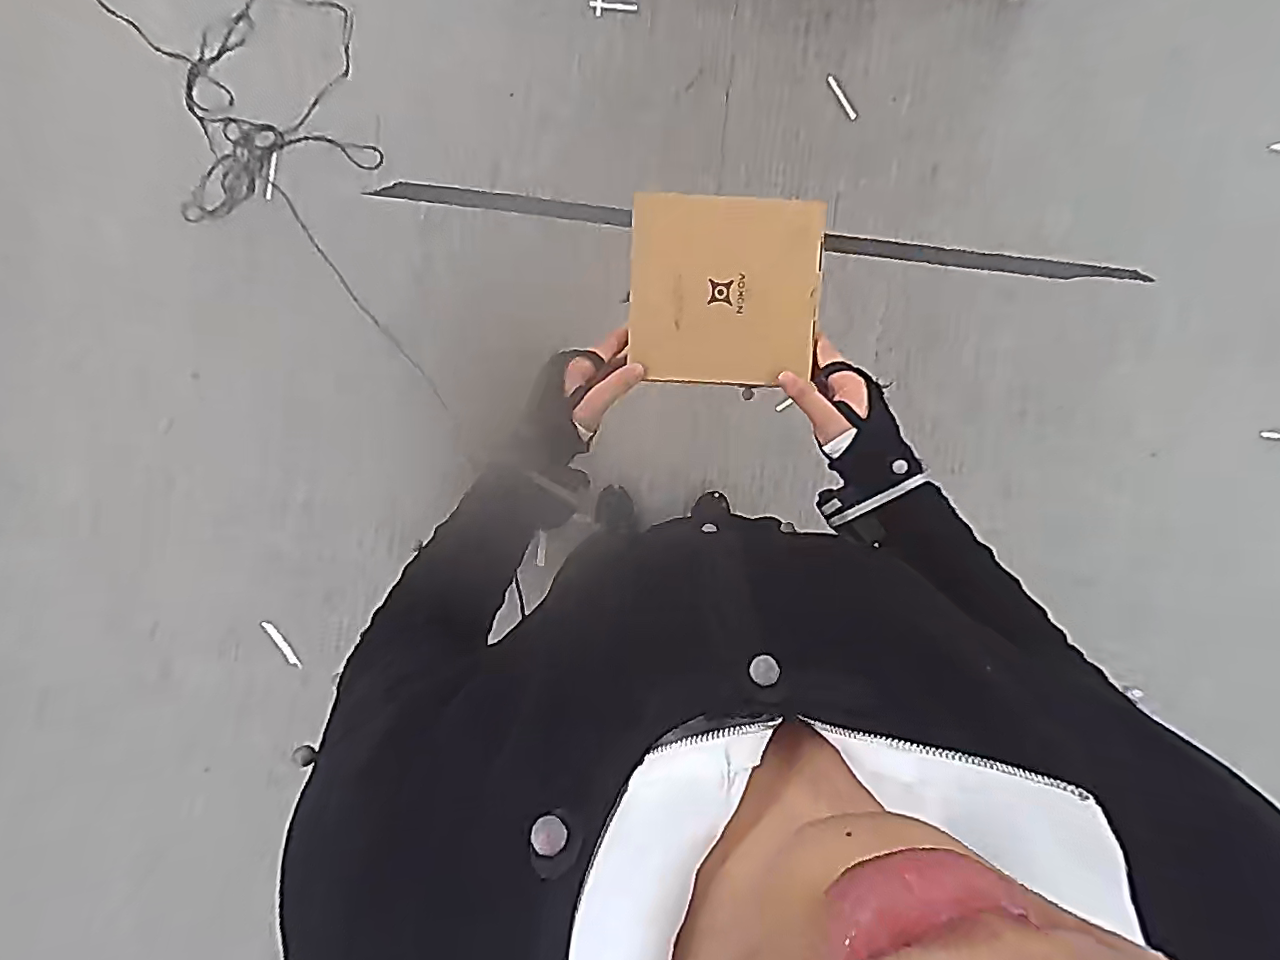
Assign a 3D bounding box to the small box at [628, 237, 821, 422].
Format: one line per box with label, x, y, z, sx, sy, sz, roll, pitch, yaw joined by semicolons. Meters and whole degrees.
small box;0.077;-0.153;0.587;0.179;0.176;0.168;1;99;0
